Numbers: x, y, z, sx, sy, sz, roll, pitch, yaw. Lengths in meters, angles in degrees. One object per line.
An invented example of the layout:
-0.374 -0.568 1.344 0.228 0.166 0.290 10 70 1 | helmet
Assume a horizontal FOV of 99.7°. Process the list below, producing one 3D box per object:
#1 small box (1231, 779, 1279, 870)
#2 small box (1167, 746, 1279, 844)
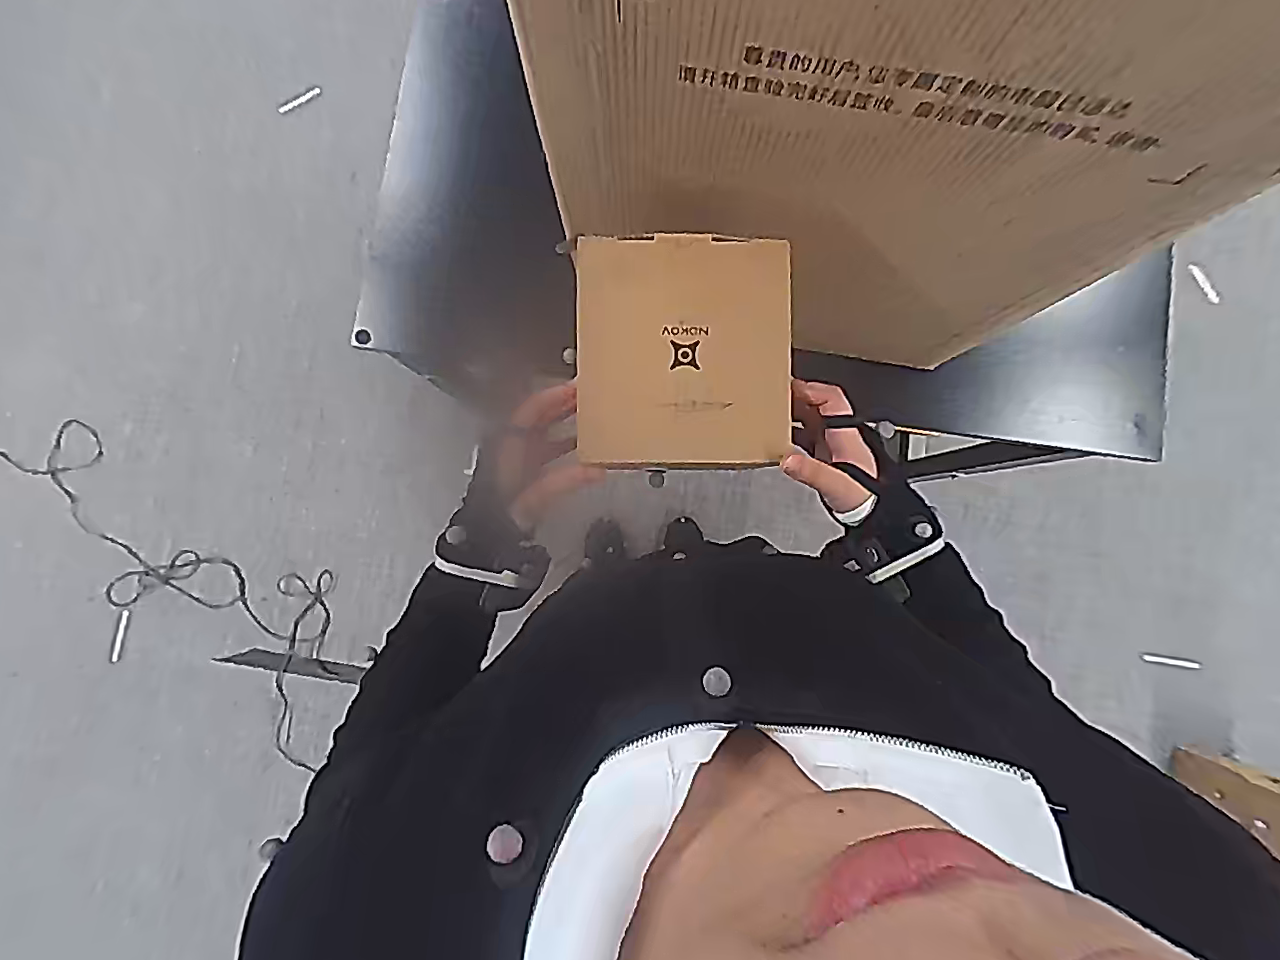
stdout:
1.516 0.805 1.217 0.179 0.176 0.168 12 86 1 | small box
1.512 0.810 1.382 0.168 0.176 0.179 12 86 1 | small box
